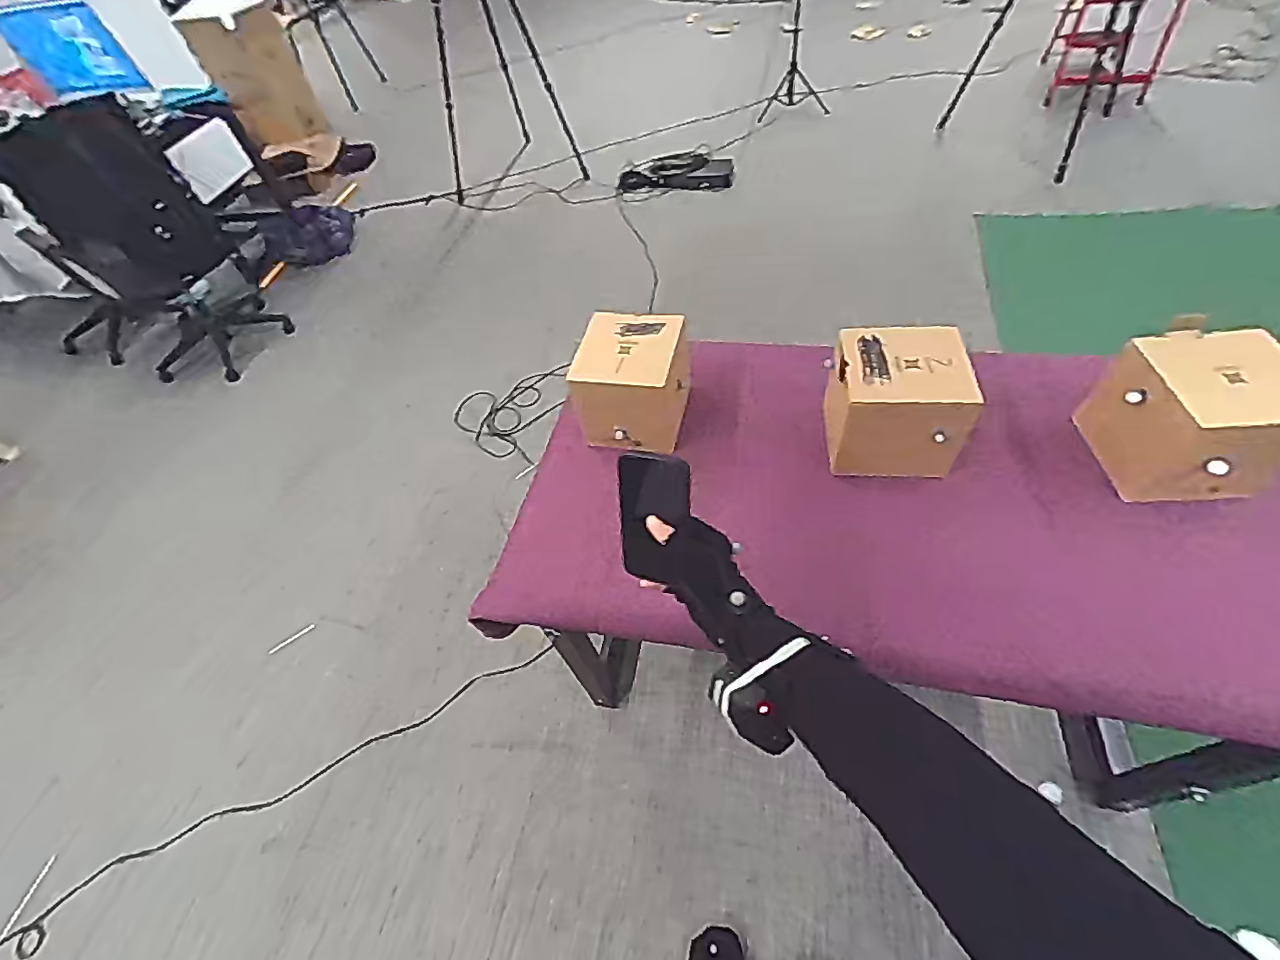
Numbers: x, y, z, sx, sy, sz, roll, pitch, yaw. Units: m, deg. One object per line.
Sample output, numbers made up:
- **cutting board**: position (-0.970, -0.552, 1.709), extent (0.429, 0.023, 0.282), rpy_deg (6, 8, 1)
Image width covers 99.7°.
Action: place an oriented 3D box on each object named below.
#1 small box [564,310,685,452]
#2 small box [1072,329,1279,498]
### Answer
- **small box**: position (-0.016, -0.174, 0.953), extent (0.168, 0.176, 0.179), rpy_deg (7, 56, 14)
- **small box**: position (0.771, -0.086, 0.765), extent (0.168, 0.176, 0.179), rpy_deg (-3, 52, 7)
